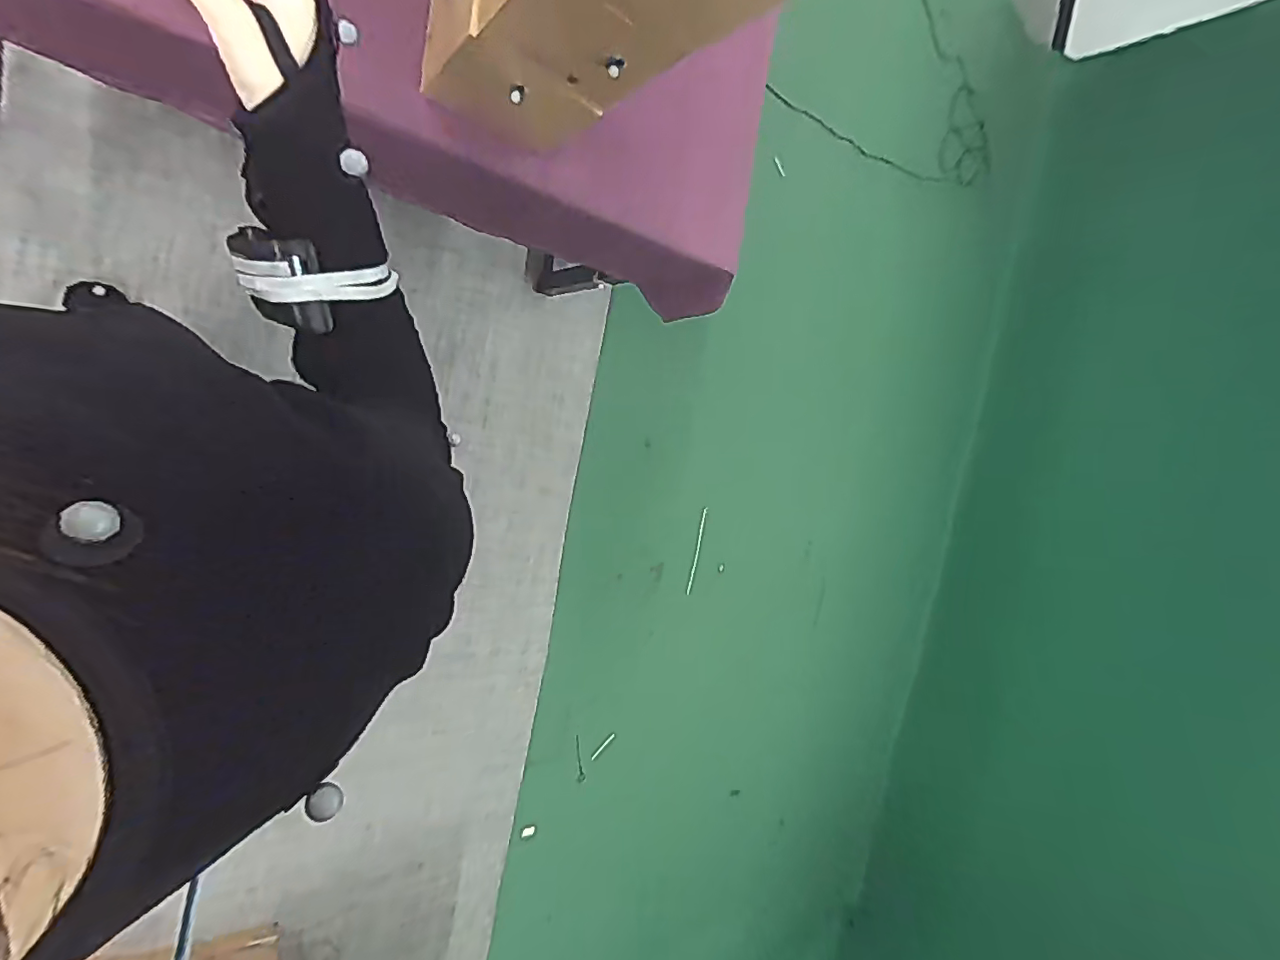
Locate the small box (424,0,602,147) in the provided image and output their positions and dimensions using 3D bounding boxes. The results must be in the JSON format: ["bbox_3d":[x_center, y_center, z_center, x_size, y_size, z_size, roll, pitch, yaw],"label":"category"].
[{"bbox_3d":[-0.153,-0.554,0.676,0.179,0.176,0.168,6,97,-40],"label":"small box"}]

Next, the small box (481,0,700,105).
[{"bbox_3d":[-0.049,-0.531,0.552,0.168,0.176,0.179,3,97,-41],"label":"small box"}]
